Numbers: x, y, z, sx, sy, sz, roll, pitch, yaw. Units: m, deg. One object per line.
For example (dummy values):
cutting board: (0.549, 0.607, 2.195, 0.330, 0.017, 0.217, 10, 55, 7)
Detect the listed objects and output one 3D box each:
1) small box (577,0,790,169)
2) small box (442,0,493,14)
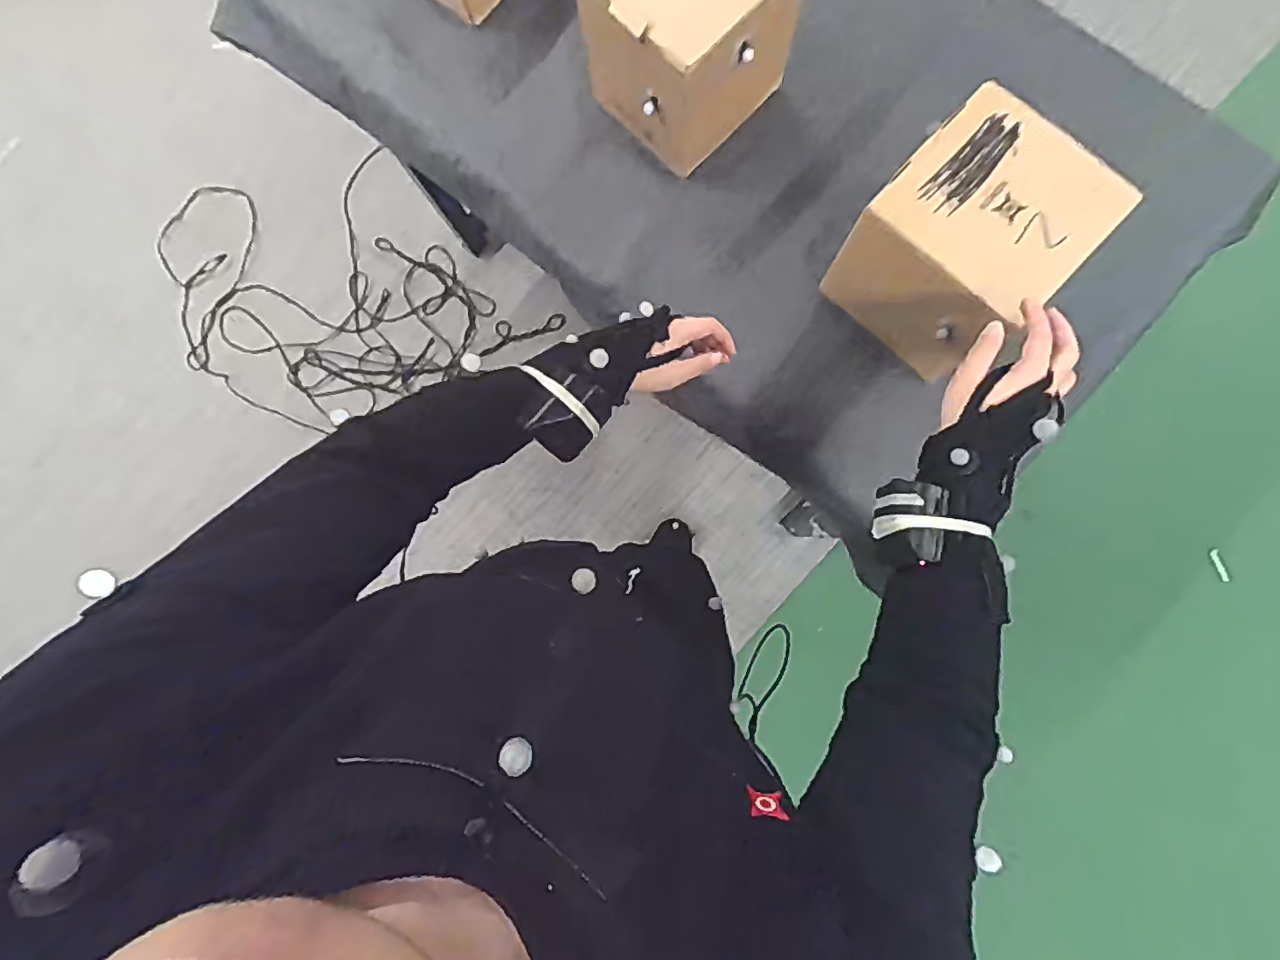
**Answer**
small box: (0.052, -0.501, 0.605, 0.179, 0.176, 0.168, -45, 85, -2)
small box: (-0.238, -0.724, 0.643, 0.179, 0.176, 0.168, 40, 88, 5)
